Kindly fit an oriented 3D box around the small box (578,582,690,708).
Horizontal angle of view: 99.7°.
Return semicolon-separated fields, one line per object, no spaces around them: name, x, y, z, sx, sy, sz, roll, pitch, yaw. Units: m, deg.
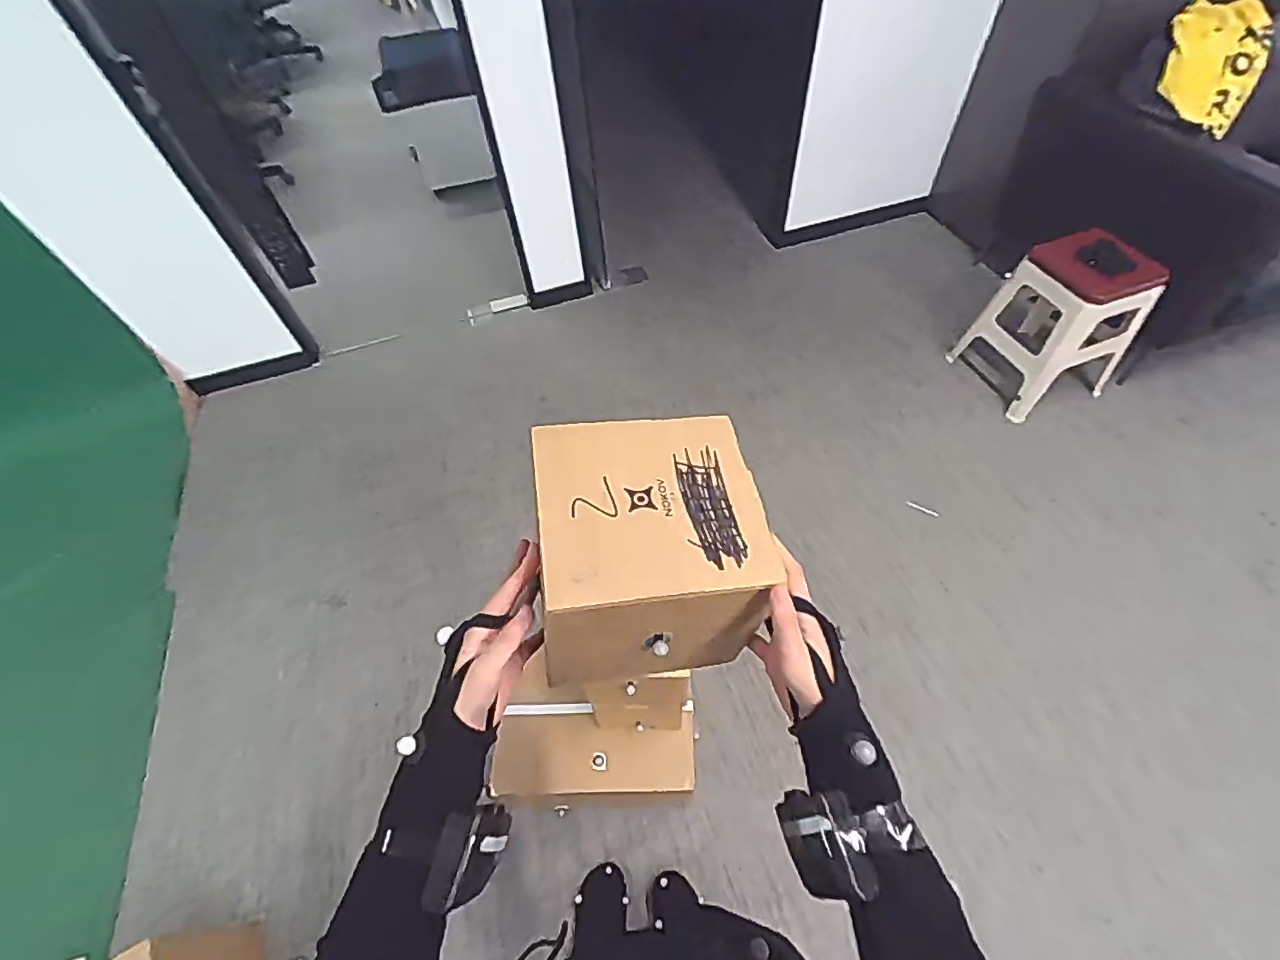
small box;-0.003;0.292;0.949;0.179;0.176;0.168;0;52;4

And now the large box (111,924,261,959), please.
large box;-0.935;1.079;0.936;0.408;0.320;0.320;-29;57;-15

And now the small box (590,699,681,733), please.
small box;-0.004;0.390;1.078;0.168;0.176;0.179;-1;53;3
